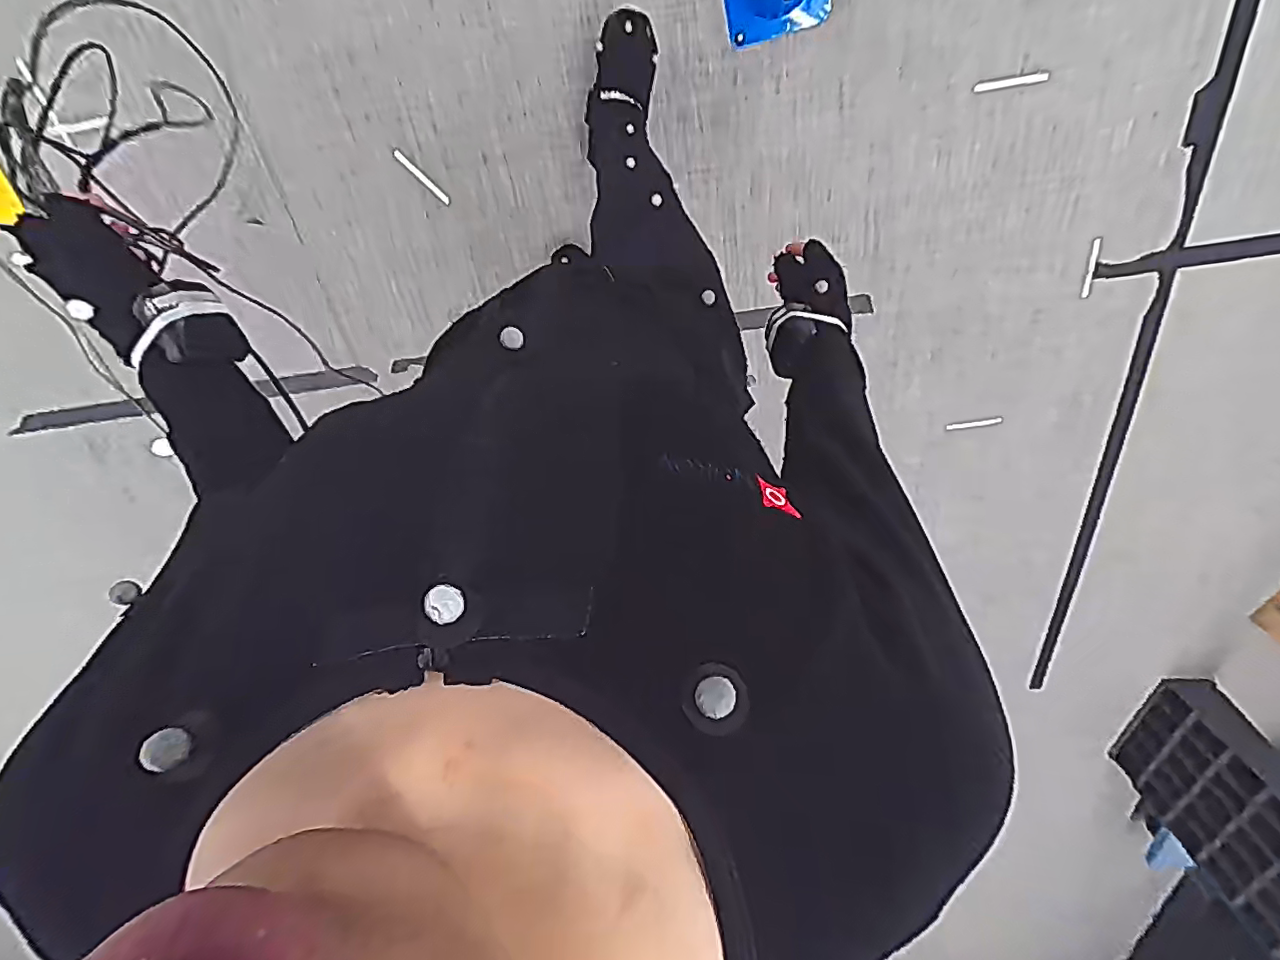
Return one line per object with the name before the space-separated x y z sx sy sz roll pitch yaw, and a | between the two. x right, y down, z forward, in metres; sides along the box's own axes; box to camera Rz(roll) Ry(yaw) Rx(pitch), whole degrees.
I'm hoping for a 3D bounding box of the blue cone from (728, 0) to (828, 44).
blue cone | 0.259 -0.877 0.874 0.193 0.380 0.192 -13 120 6
